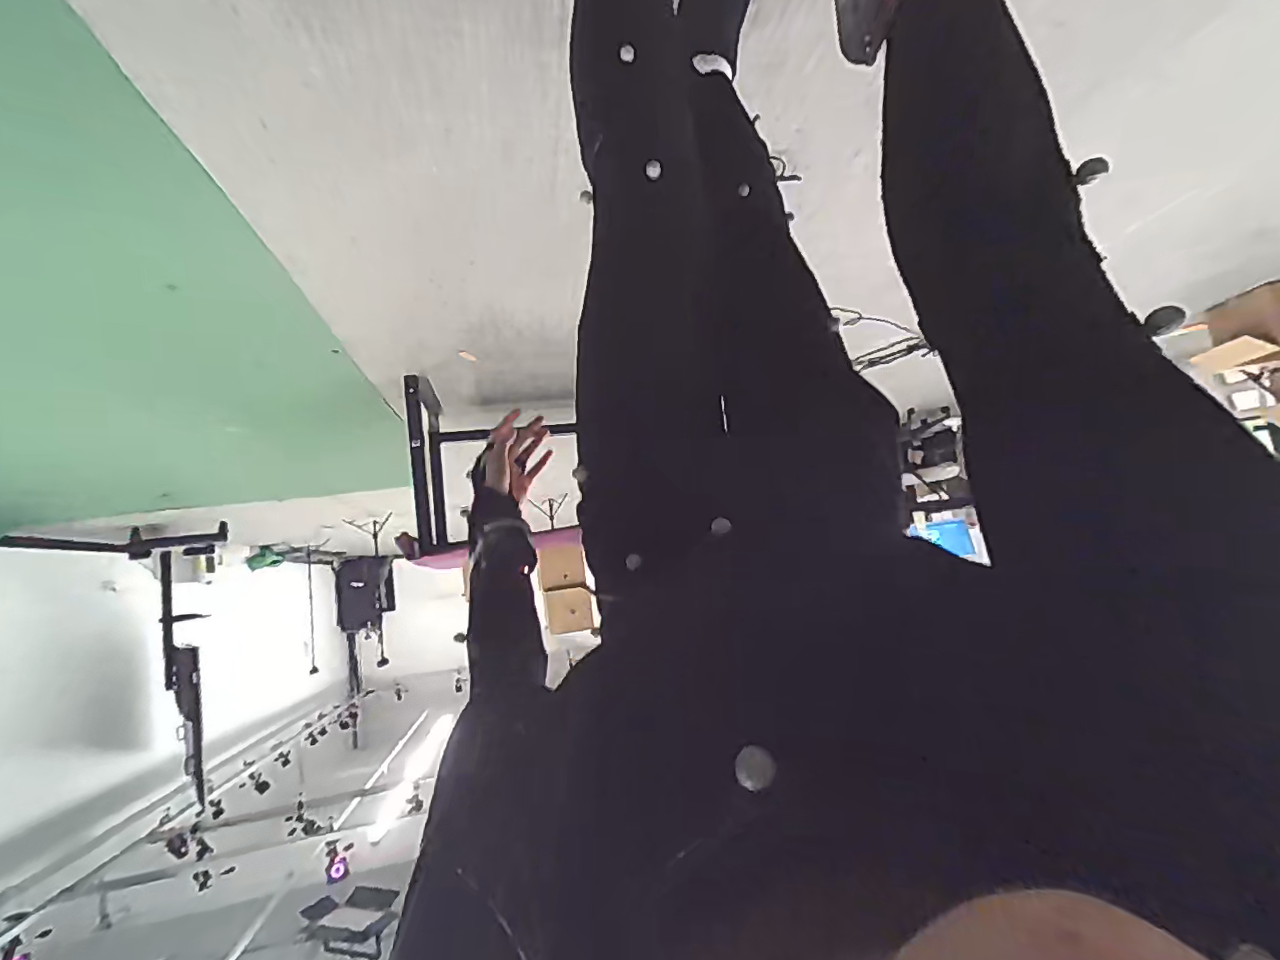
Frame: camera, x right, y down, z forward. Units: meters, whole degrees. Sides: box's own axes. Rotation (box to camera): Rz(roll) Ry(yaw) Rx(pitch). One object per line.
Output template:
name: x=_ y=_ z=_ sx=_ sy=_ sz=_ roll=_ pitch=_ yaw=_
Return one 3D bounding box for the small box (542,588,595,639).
small box: x=-0.287 y=0.521 z=2.145 sx=0.179 sy=0.176 sz=0.168 roll=-7 pitch=172 yaw=-16

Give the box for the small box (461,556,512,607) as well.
small box: x=-0.602 y=0.392 z=2.104 sx=0.168 sy=0.176 sz=0.179 roll=-6 pitch=171 yaw=-21

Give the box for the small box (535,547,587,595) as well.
small box: x=-0.322 y=0.363 z=2.179 sx=0.179 sy=0.176 sz=0.168 roll=-5 pitch=171 yaw=-17
